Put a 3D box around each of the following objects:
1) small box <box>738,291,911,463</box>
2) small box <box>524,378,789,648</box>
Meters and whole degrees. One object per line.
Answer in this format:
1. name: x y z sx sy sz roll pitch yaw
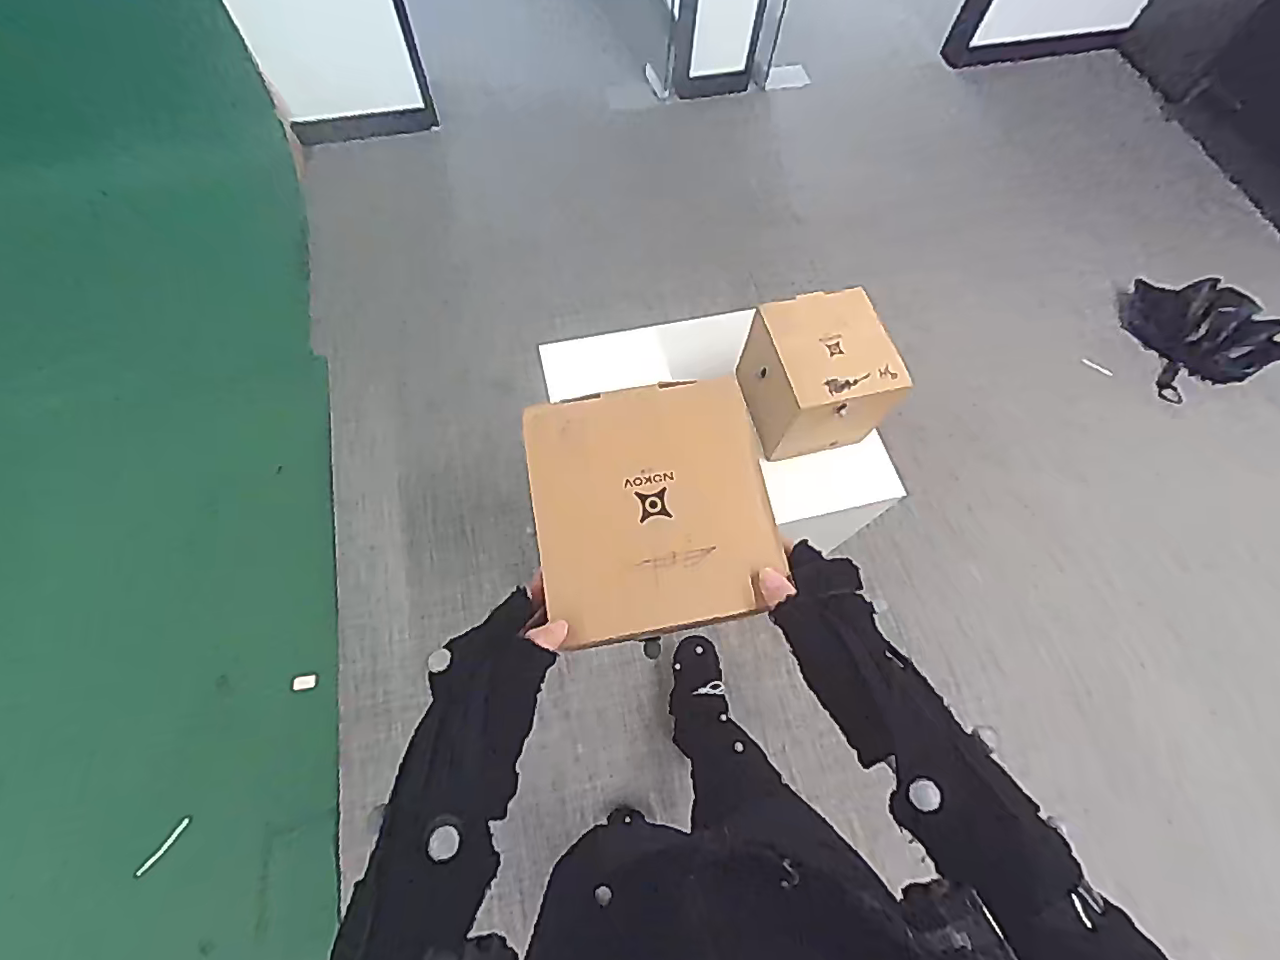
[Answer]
1. small box: 0.261 -0.150 0.817 0.168 0.176 0.179 -13 67 -7
2. small box: 0.004 0.039 0.461 0.168 0.176 0.179 -10 72 -5
